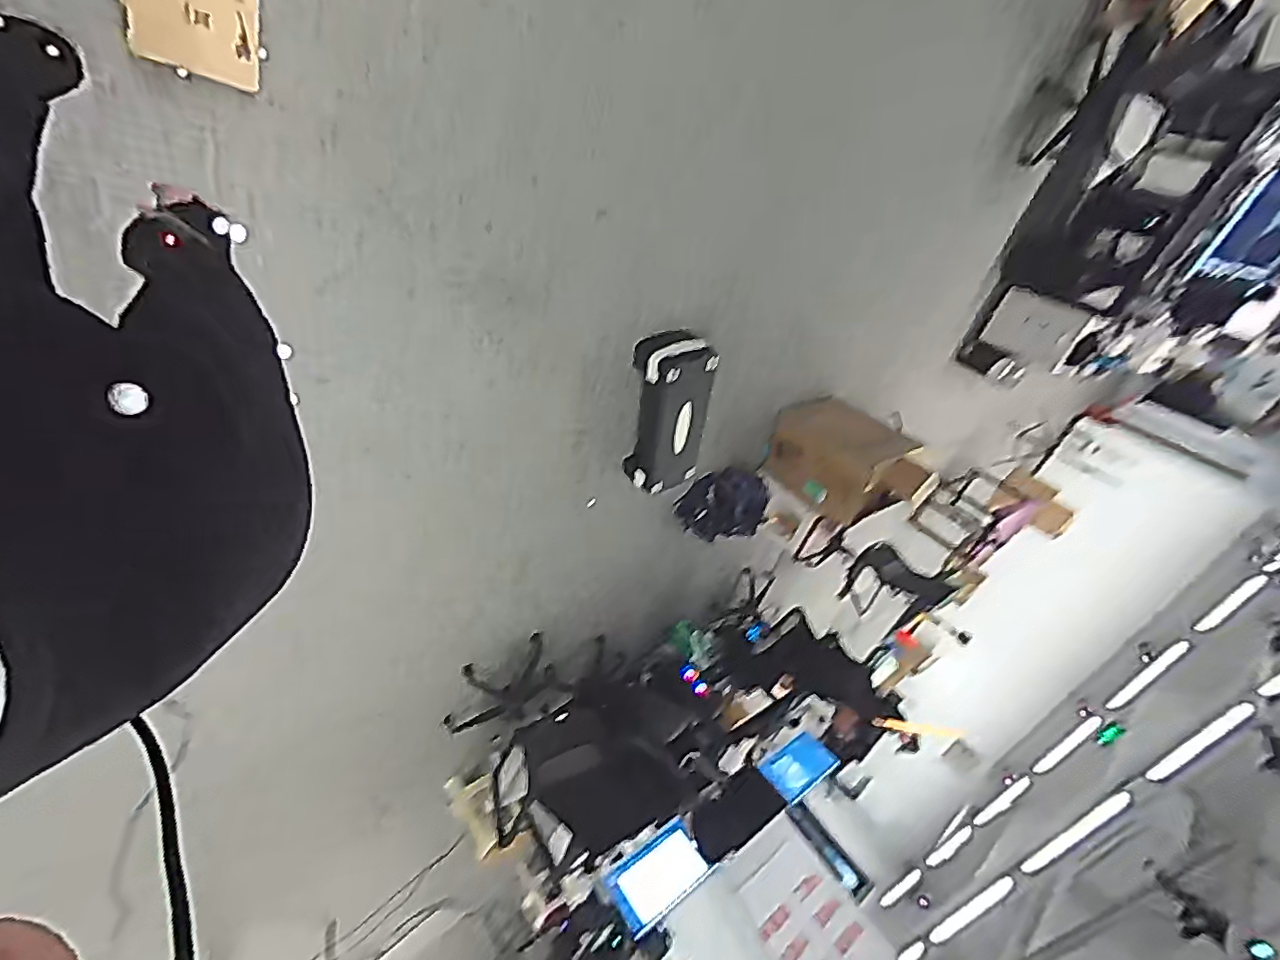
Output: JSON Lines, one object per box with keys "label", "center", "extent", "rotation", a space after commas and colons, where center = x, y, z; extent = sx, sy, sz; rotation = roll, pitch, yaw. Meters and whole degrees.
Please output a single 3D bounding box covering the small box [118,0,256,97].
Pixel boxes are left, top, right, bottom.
{"label": "small box", "center": [-0.785, -0.798, 0.937], "extent": [0.179, 0.176, 0.168], "rotation": [-7, 128, -42]}
